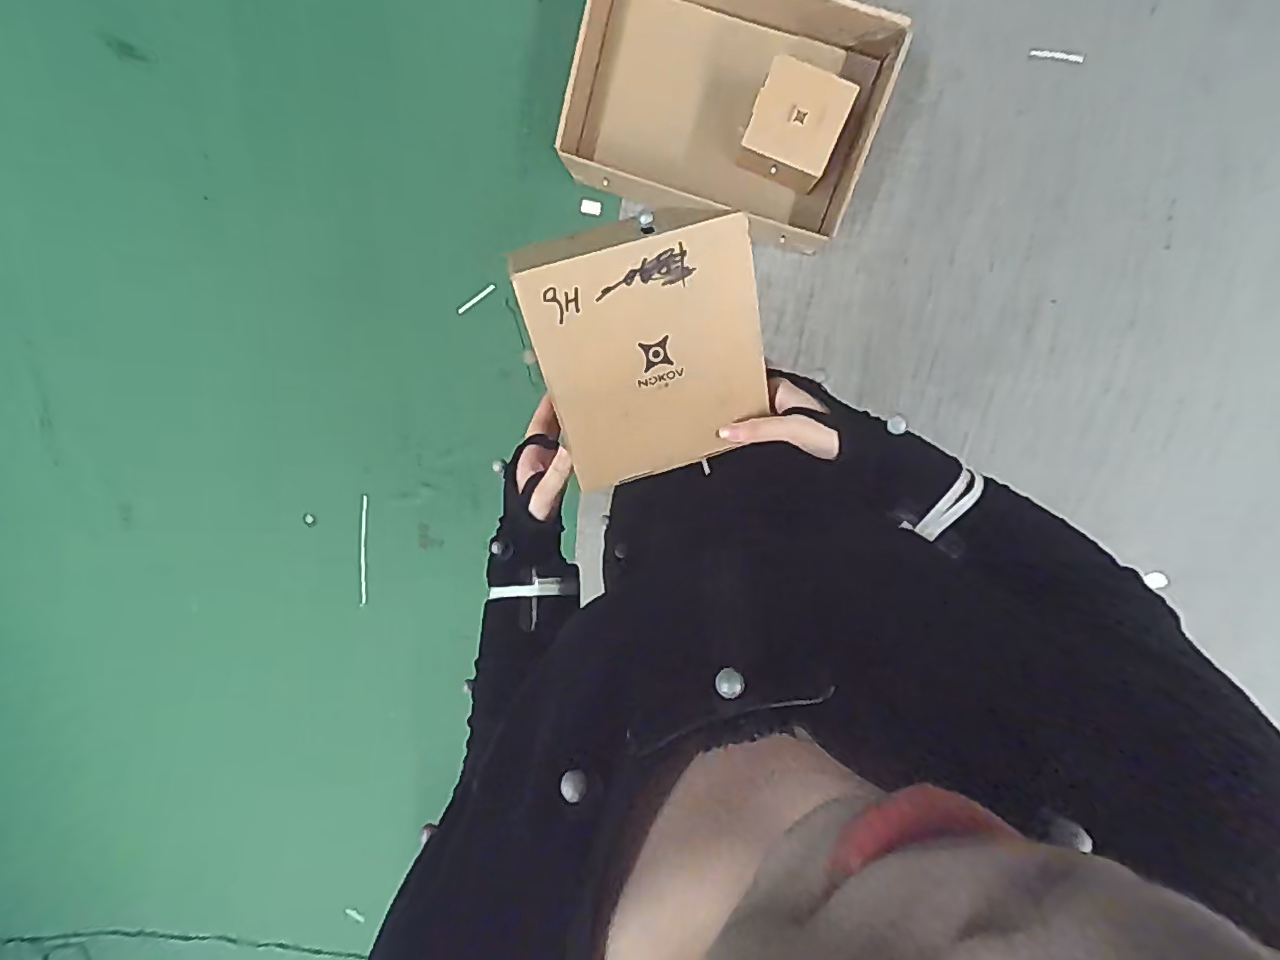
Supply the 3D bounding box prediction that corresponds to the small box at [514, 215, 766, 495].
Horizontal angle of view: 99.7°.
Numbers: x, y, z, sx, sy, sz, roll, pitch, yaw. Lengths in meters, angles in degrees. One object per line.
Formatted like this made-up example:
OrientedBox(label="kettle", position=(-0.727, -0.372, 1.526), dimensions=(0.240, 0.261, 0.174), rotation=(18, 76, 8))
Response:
OrientedBox(label="small box", position=(-0.005, -0.118, 0.473), dimensions=(0.168, 0.176, 0.179), rotation=(-17, 120, -5))
